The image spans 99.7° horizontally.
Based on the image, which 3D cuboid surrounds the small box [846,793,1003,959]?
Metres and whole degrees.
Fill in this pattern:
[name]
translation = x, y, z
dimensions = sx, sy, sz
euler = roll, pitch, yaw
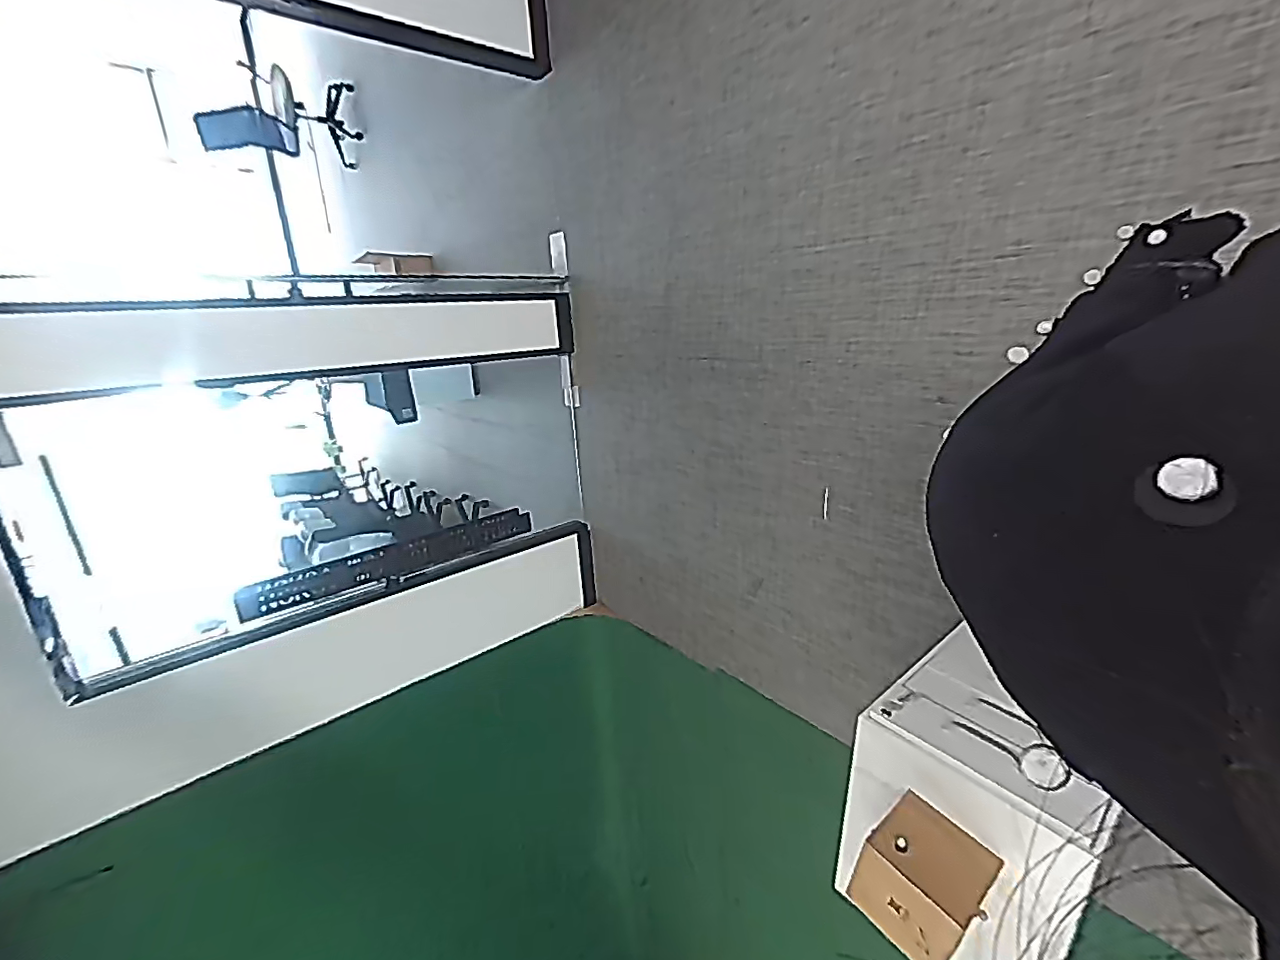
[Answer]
[small box]
translation = 0.515, 0.713, 0.985
dimensions = 0.179, 0.176, 0.168
euler = 30, 126, 43
